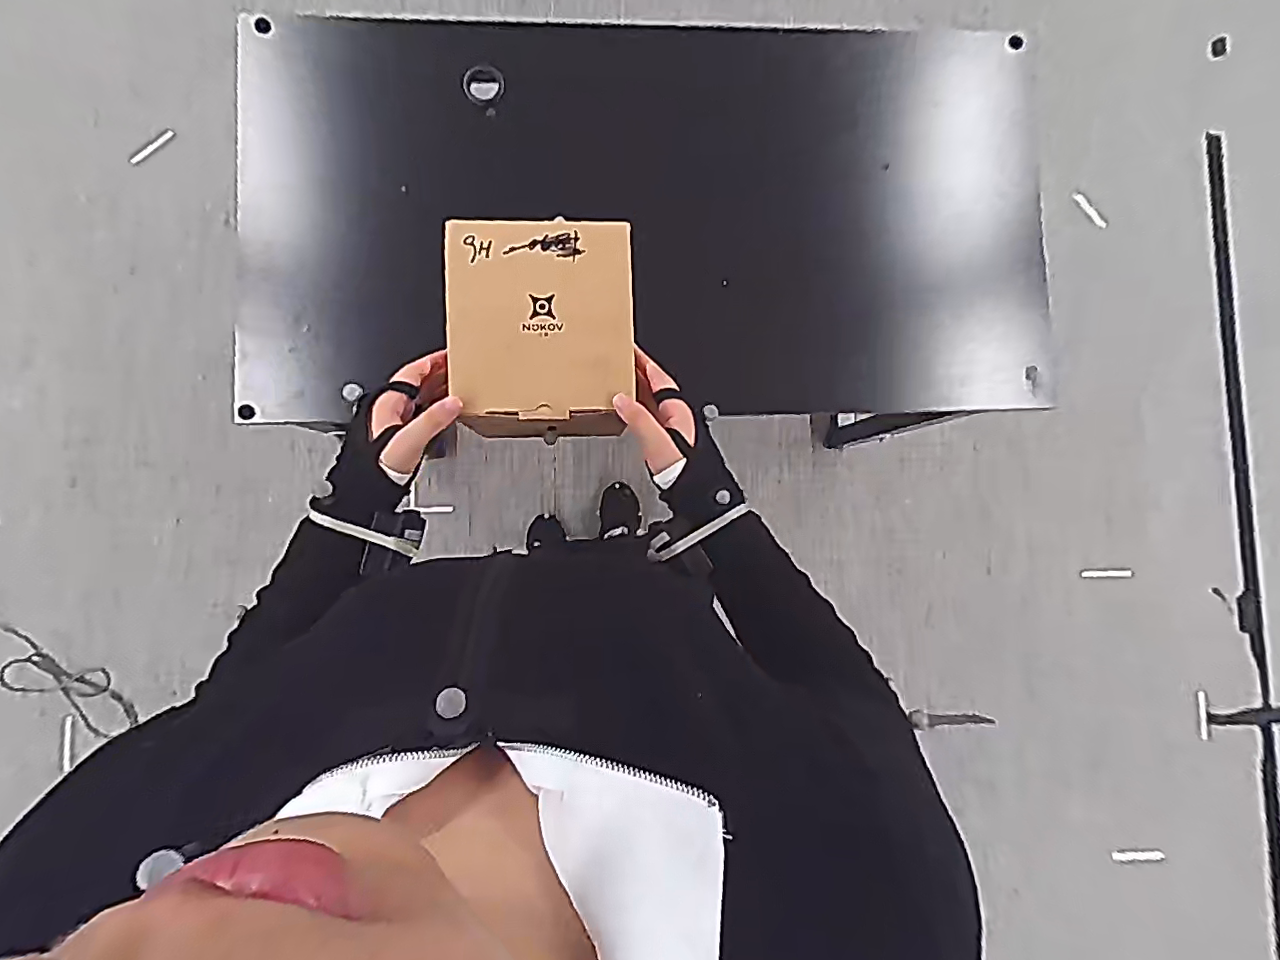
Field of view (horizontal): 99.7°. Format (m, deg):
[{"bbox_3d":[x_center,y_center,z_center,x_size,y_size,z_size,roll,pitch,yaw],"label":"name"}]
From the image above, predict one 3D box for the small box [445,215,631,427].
[{"bbox_3d":[-0.096,-0.149,0.564,0.168,0.176,0.179,-2,88,-5],"label":"small box"}]
